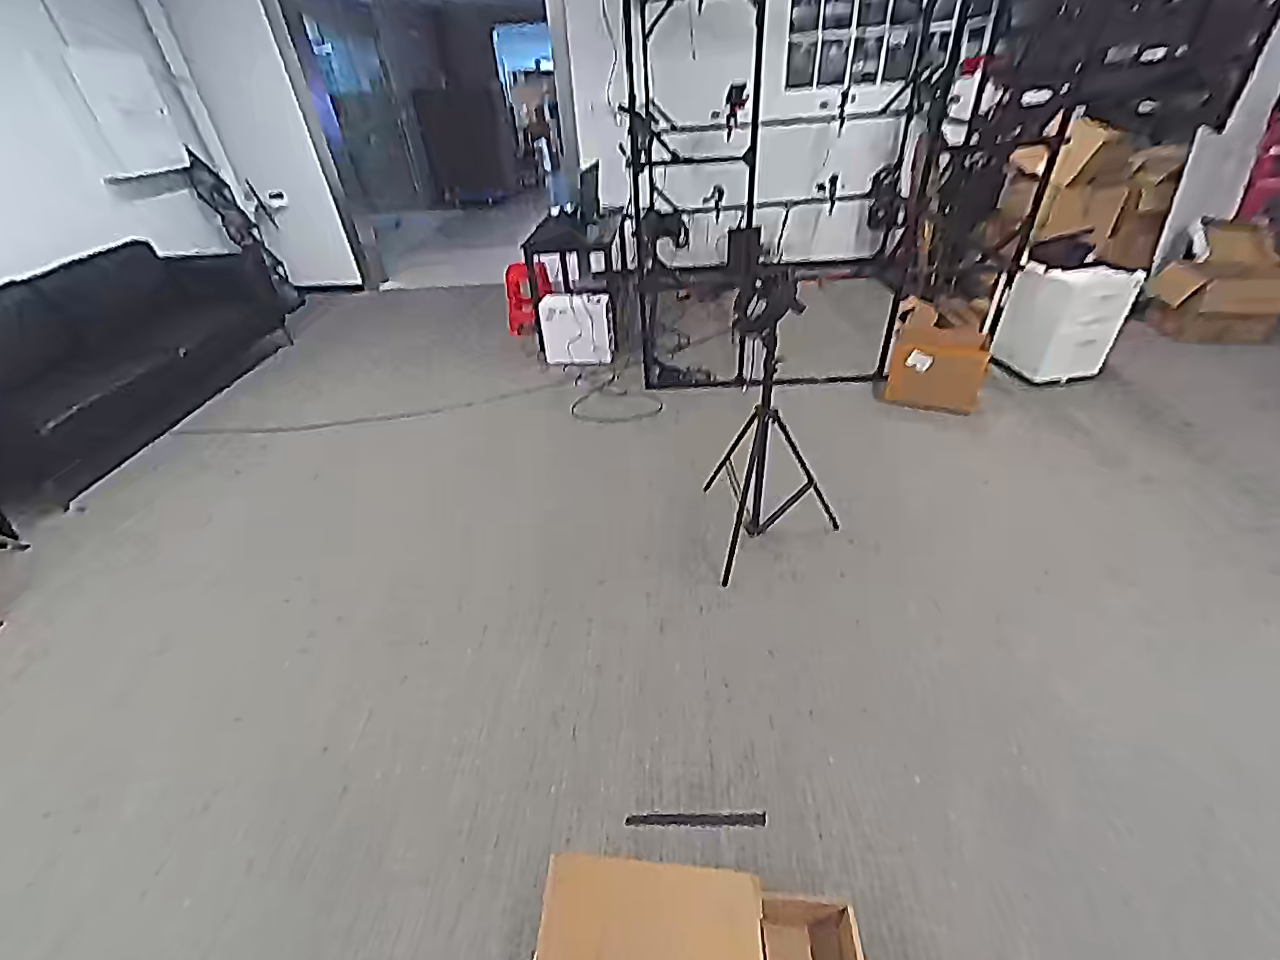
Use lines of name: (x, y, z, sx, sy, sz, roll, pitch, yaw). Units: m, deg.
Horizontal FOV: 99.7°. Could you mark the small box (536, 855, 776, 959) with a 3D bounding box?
small box: (0.002, 0.415, 0.424, 0.179, 0.176, 0.168, 7, 44, -4)
